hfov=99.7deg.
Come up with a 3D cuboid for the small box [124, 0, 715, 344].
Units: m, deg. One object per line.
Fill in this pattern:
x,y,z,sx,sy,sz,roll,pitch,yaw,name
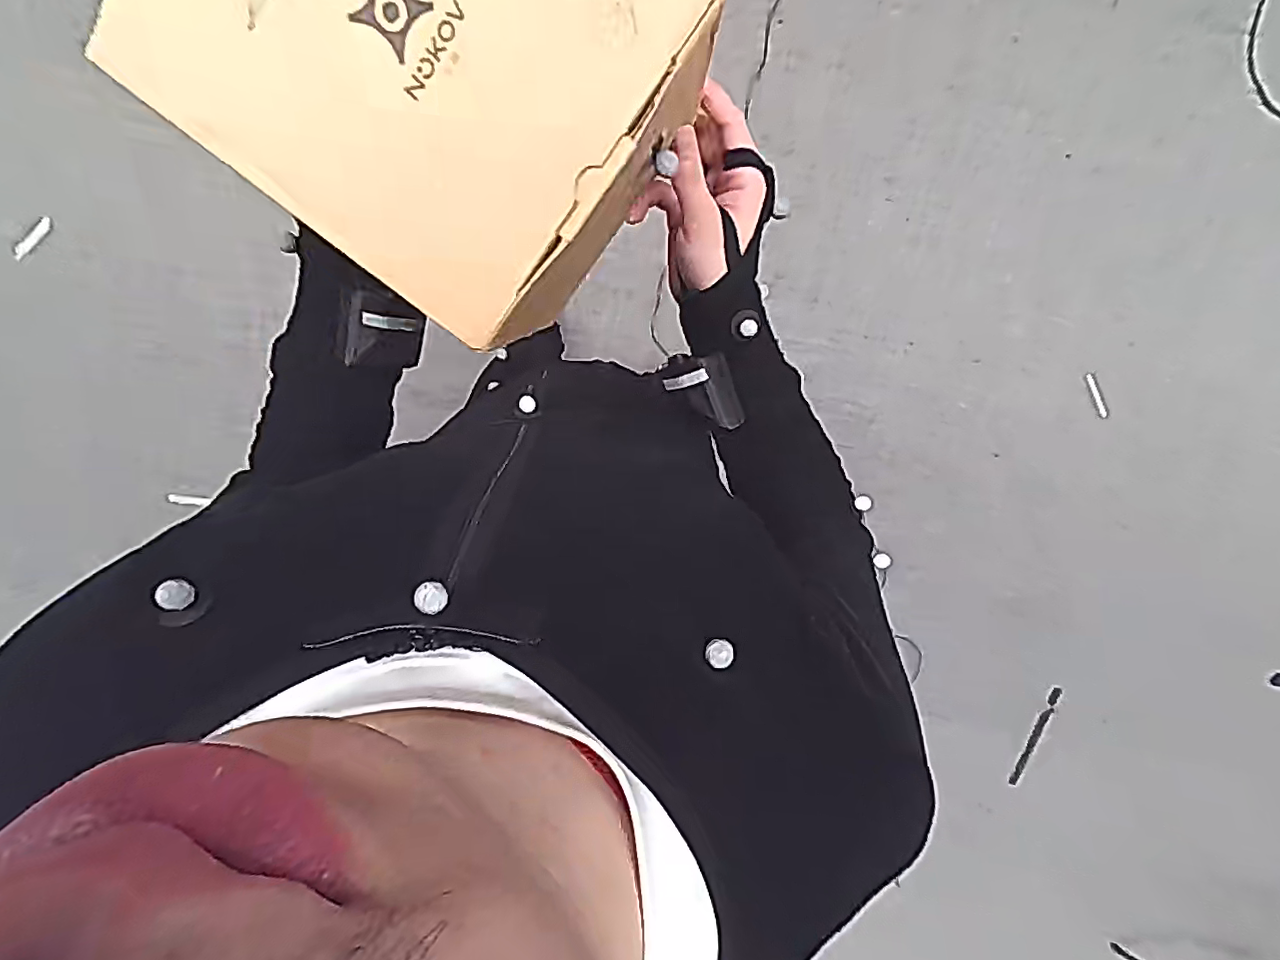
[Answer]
-0.085,-0.197,0.282,0.179,0.176,0.168,37,105,-10,small box
